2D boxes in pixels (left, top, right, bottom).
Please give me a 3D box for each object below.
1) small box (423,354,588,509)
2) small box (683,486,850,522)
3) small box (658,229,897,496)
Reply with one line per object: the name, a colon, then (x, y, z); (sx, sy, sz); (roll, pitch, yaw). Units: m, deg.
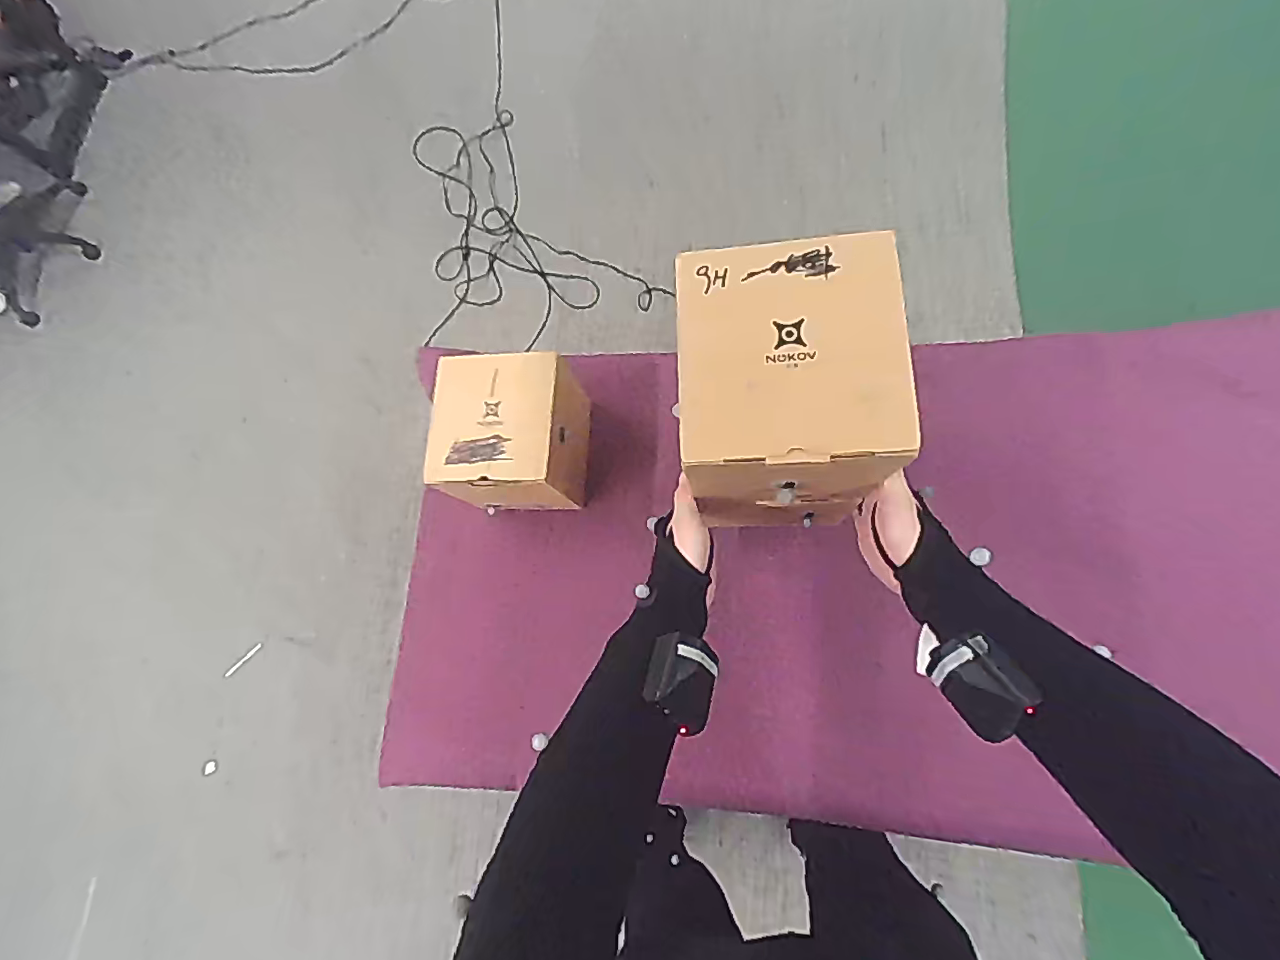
small box: (-0.177, -0.057, 0.763); (0.168, 0.176, 0.179); (-1, 75, 11)
small box: (0.142, -0.045, 0.628); (0.168, 0.176, 0.179); (-1, 77, 11)
small box: (0.110, -0.082, 0.471); (0.168, 0.176, 0.179); (-3, 79, 10)
